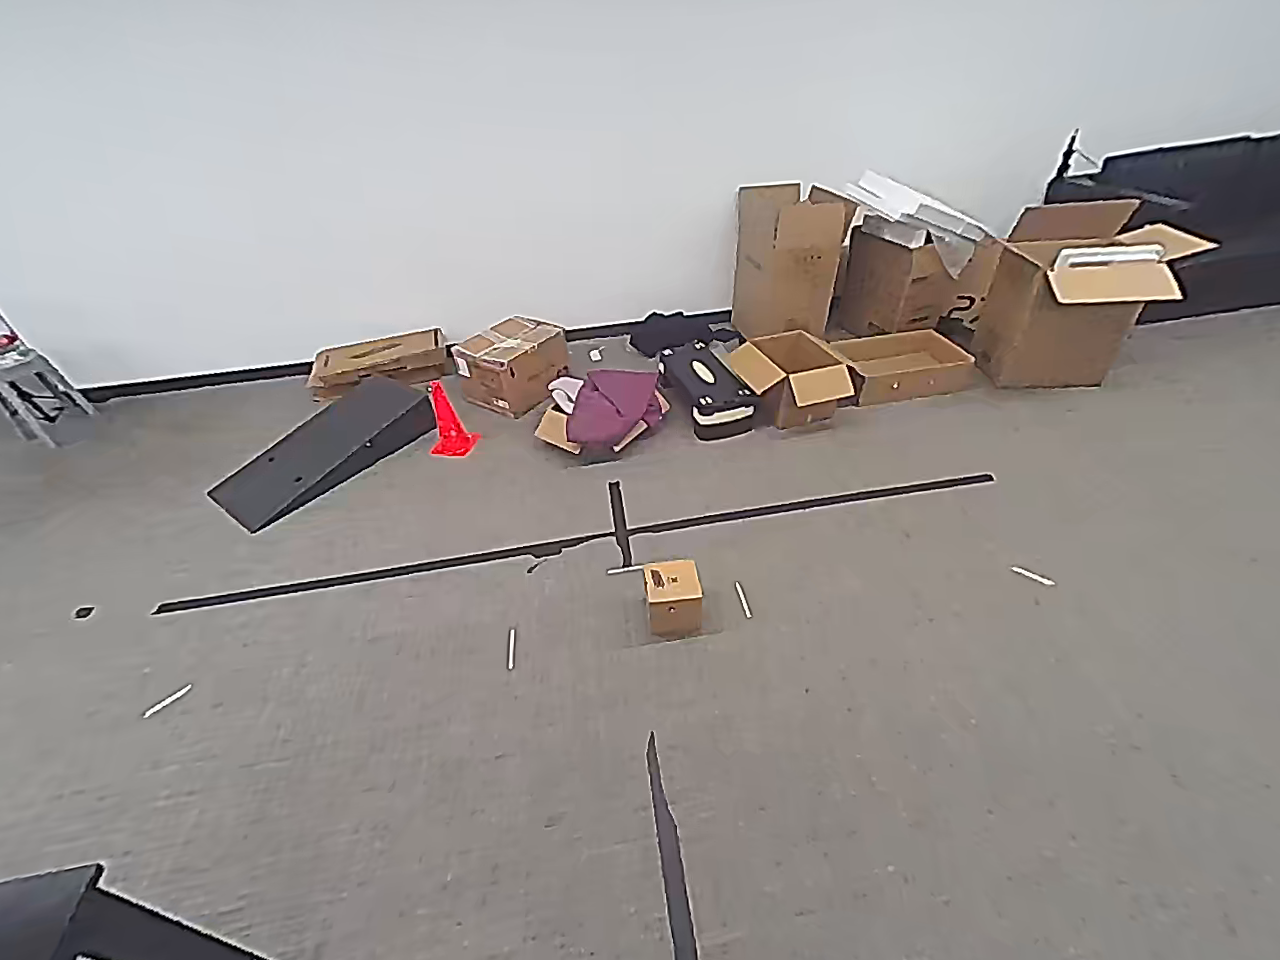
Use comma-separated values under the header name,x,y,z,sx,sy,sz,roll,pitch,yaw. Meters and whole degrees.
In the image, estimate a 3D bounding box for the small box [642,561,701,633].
name,x,y,z,sx,sy,sz,roll,pitch,yaw
small box,0.105,0.394,1.810,0.179,0.176,0.168,-6,39,-3
